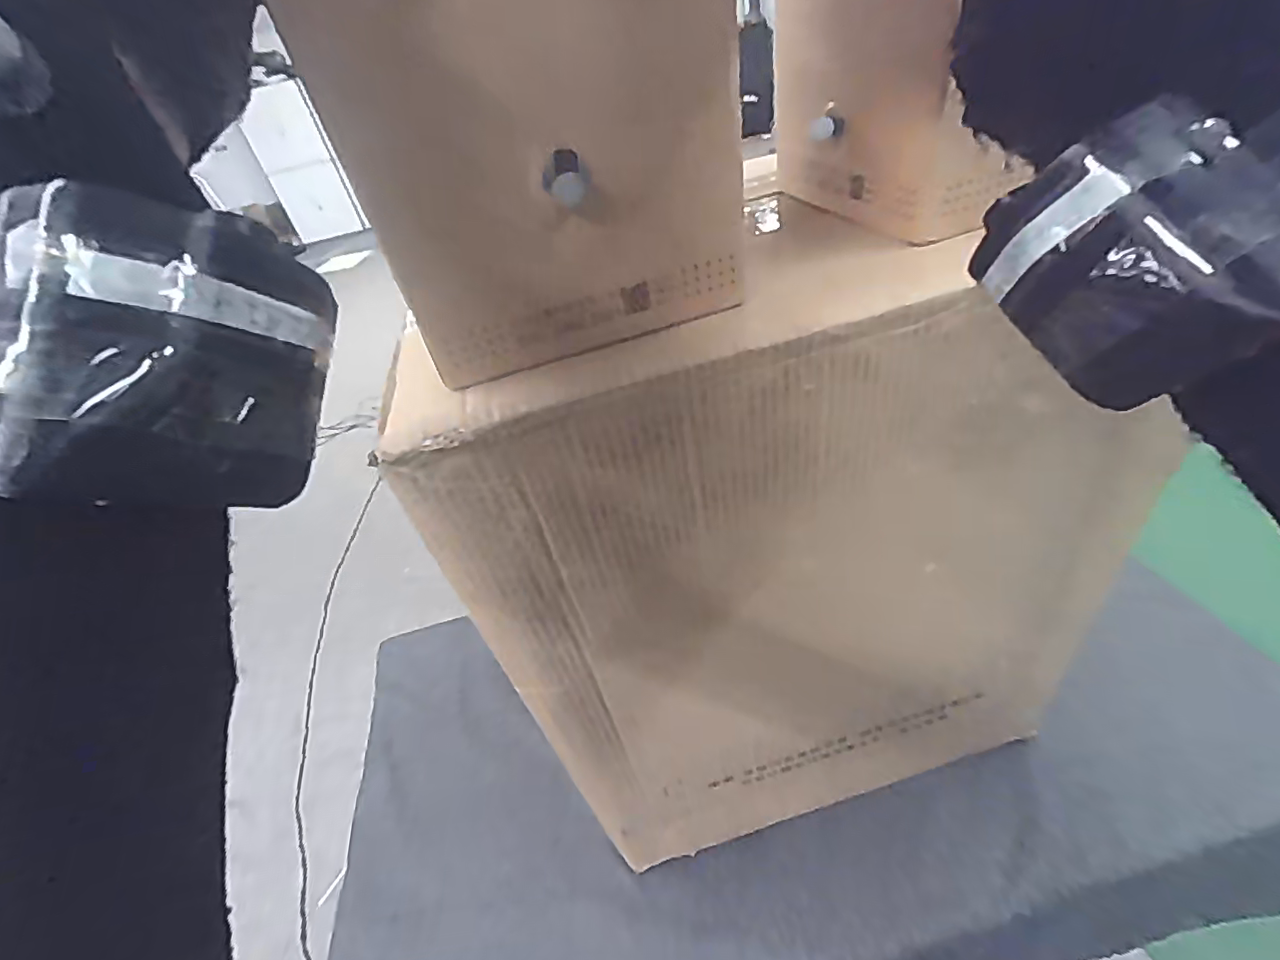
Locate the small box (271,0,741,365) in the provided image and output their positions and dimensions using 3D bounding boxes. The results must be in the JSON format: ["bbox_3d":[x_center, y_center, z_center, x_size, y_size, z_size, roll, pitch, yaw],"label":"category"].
[{"bbox_3d":[-0.053,-0.179,0.292,0.168,0.176,0.179,-18,42,-6],"label":"small box"}]

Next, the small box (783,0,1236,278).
[{"bbox_3d":[0.201,-0.248,0.331,0.179,0.176,0.168,-19,41,-7],"label":"small box"}]
